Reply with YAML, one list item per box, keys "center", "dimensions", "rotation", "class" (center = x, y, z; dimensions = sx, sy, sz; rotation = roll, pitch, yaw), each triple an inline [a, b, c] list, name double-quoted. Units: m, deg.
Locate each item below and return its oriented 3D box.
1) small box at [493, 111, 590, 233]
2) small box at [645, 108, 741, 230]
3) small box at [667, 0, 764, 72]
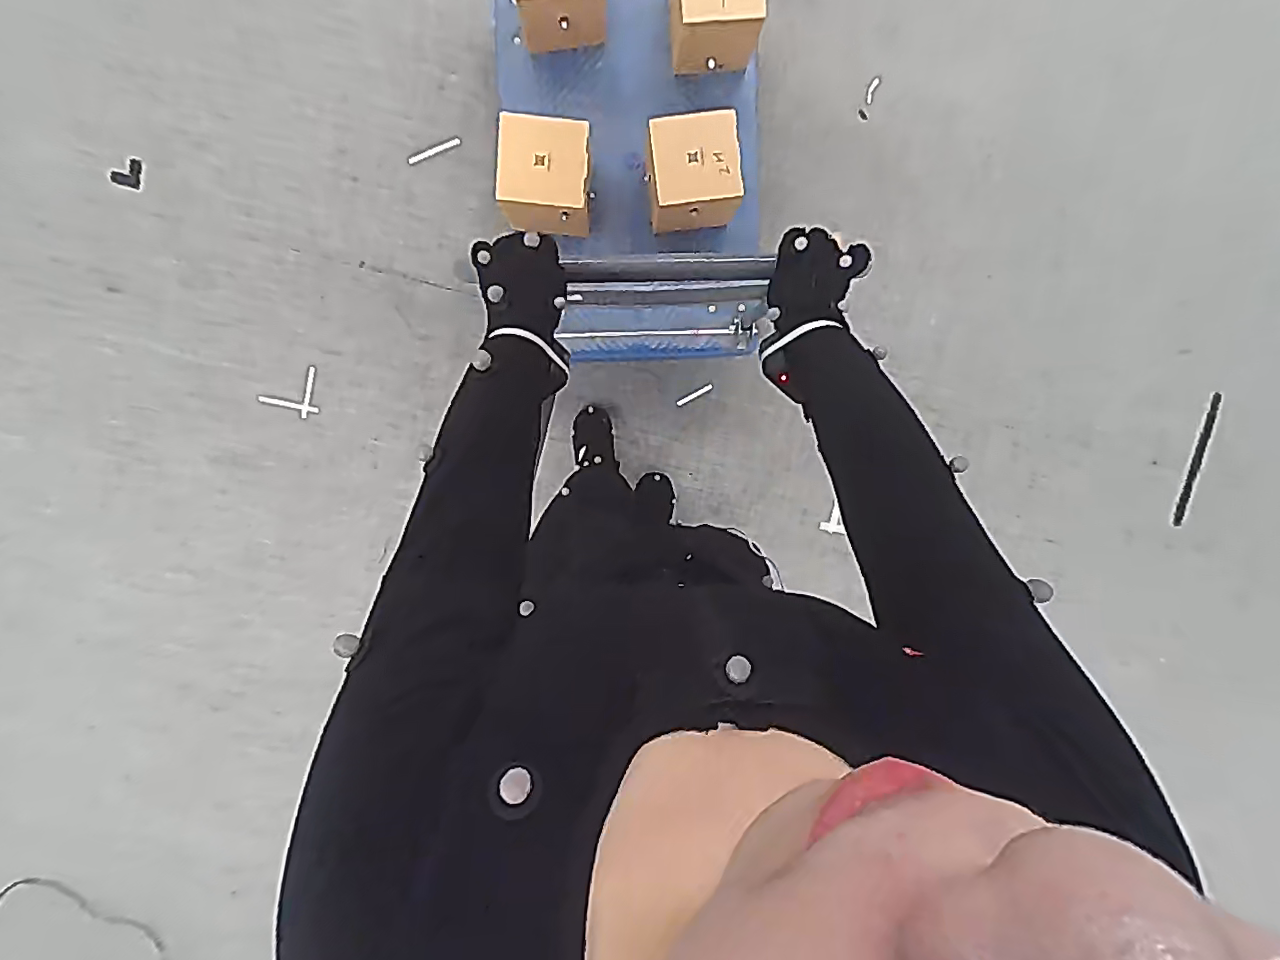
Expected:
- center: [-0.199, -0.633, 1.132]
  dimensions: [0.179, 0.176, 0.168]
  rotation: [4, 96, -4]
  class: "small box"
- center: [0.104, -0.646, 1.143]
  dimensions: [0.179, 0.176, 0.168]
  rotation: [-8, 97, -1]
  class: "small box"
- center: [0.147, -0.981, 1.104]
  dimensions: [0.168, 0.176, 0.179]
  rotation: [-5, 98, -2]
  class: "small box"
